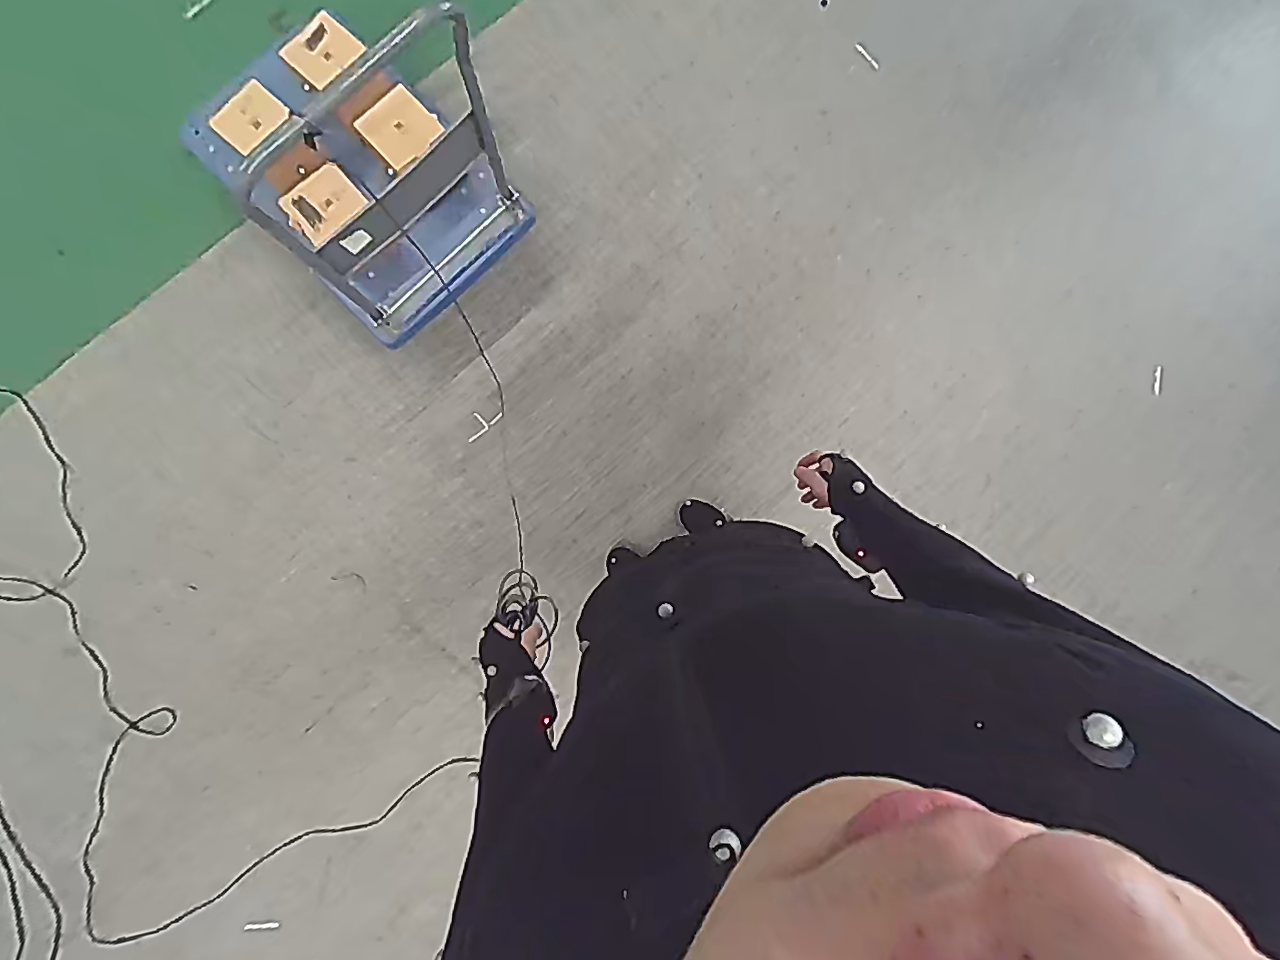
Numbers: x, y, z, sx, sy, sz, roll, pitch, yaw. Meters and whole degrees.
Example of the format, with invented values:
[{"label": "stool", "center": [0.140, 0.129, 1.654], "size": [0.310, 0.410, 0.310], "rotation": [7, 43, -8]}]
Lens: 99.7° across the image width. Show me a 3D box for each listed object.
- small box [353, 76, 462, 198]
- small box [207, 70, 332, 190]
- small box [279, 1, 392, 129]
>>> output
[{"label": "small box", "center": [-0.607, -0.900, 1.436], "size": [0.168, 0.176, 0.179], "rotation": [-43, 90, -4]}, {"label": "small box", "center": [-0.962, -0.905, 1.424], "size": [0.179, 0.176, 0.168], "rotation": [42, 85, 1]}, {"label": "small box", "center": [-0.796, -1.094, 1.441], "size": [0.179, 0.176, 0.168], "rotation": [42, 87, 0]}]
